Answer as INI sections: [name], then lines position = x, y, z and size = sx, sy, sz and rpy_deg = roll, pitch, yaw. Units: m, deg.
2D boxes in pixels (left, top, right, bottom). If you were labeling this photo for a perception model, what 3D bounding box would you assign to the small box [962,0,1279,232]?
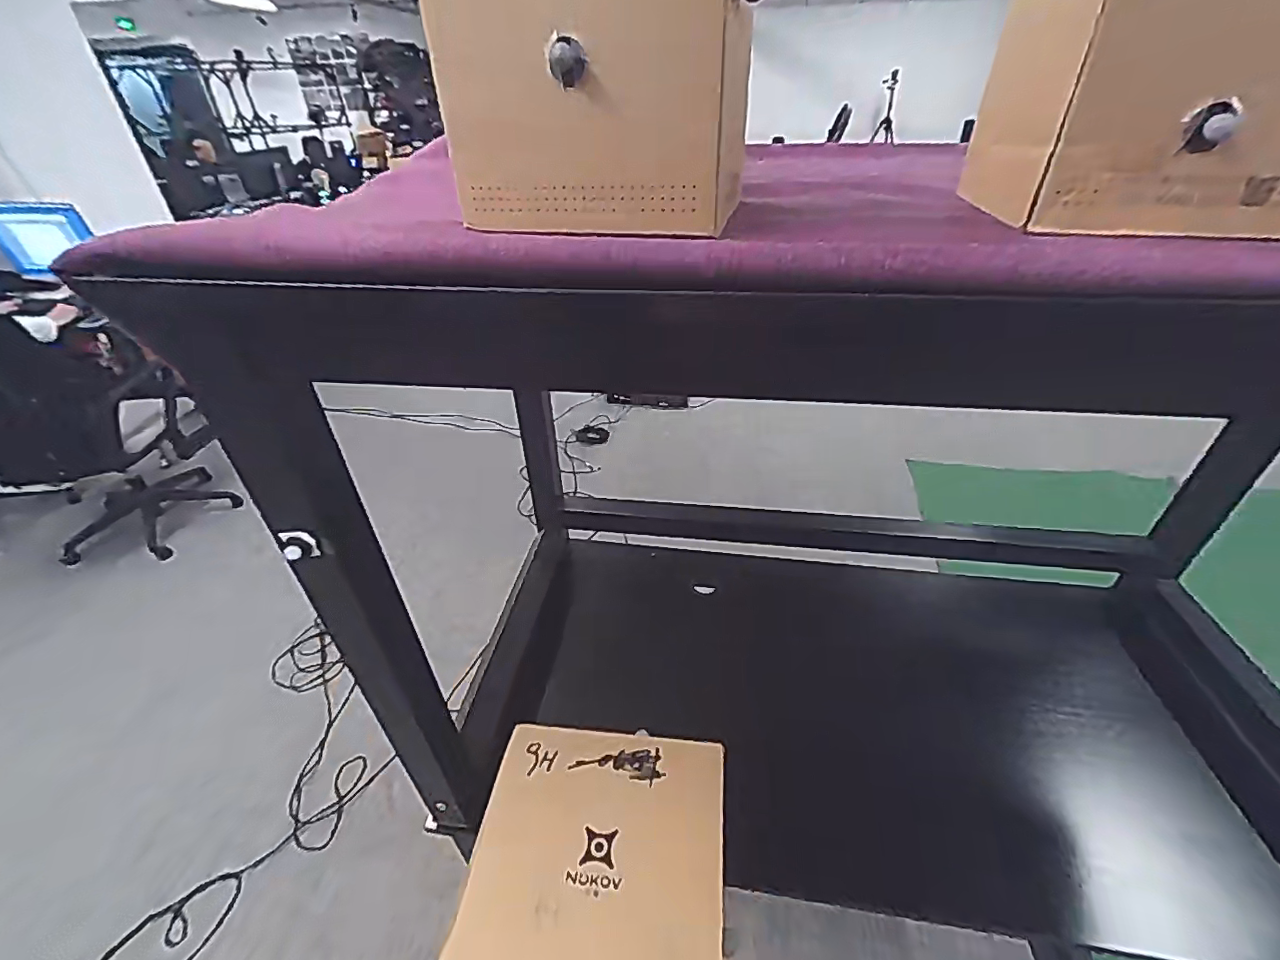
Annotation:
[small box]
position = 0.321, -0.258, 0.324
size = 0.168, 0.176, 0.179
rpy_deg = 6, 36, 12
